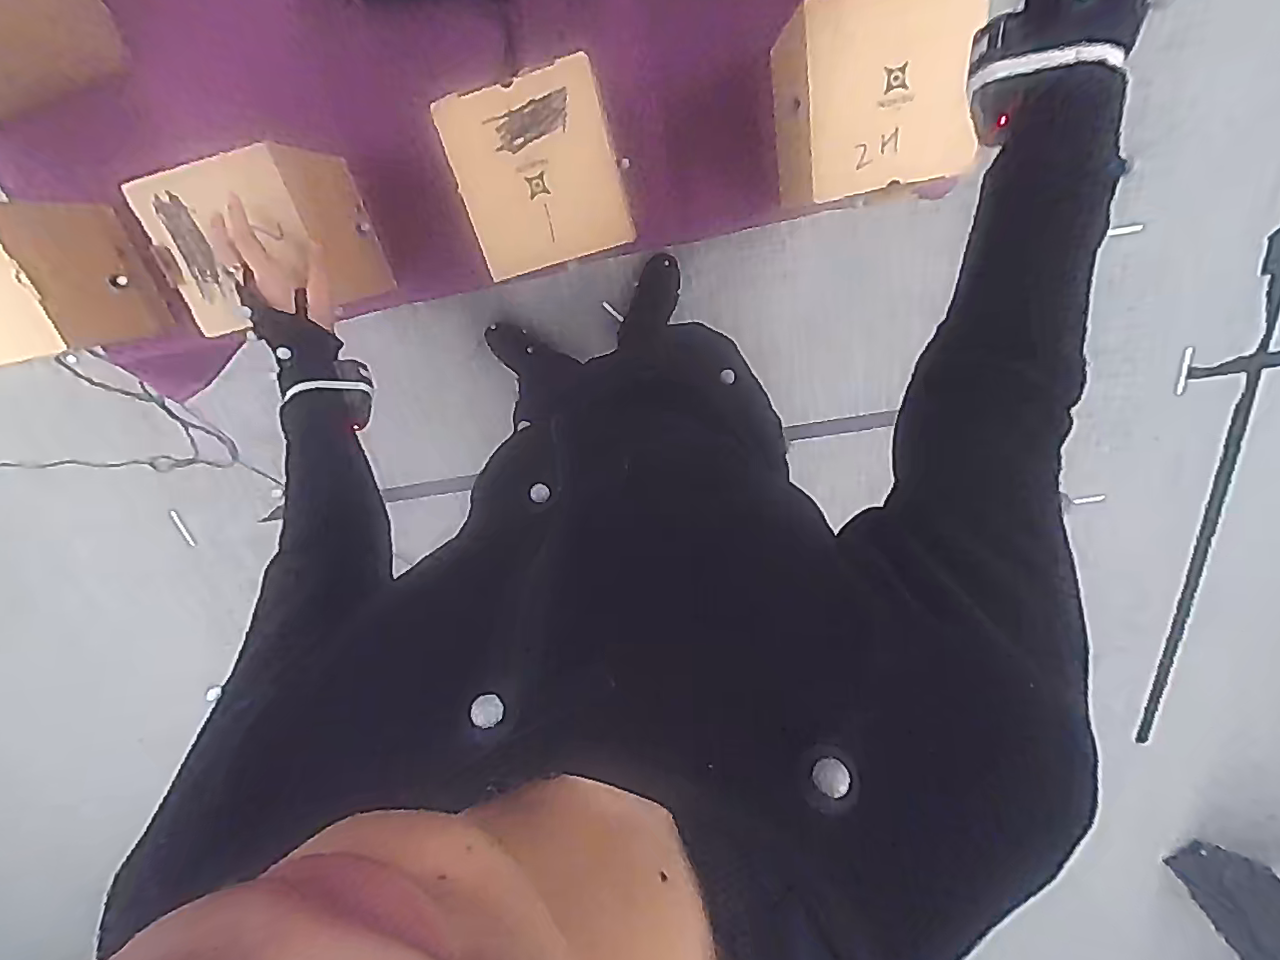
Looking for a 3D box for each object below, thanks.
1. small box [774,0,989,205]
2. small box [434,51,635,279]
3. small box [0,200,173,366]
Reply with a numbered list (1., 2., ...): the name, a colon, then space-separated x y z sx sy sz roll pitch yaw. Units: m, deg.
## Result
1. small box: 0.247 -0.414 0.592 0.168 0.176 0.179 -8 115 7
2. small box: -0.106 -0.352 0.632 0.168 0.176 0.179 -13 116 8
3. small box: -0.778 -0.249 0.697 0.179 0.176 0.168 -11 115 5
